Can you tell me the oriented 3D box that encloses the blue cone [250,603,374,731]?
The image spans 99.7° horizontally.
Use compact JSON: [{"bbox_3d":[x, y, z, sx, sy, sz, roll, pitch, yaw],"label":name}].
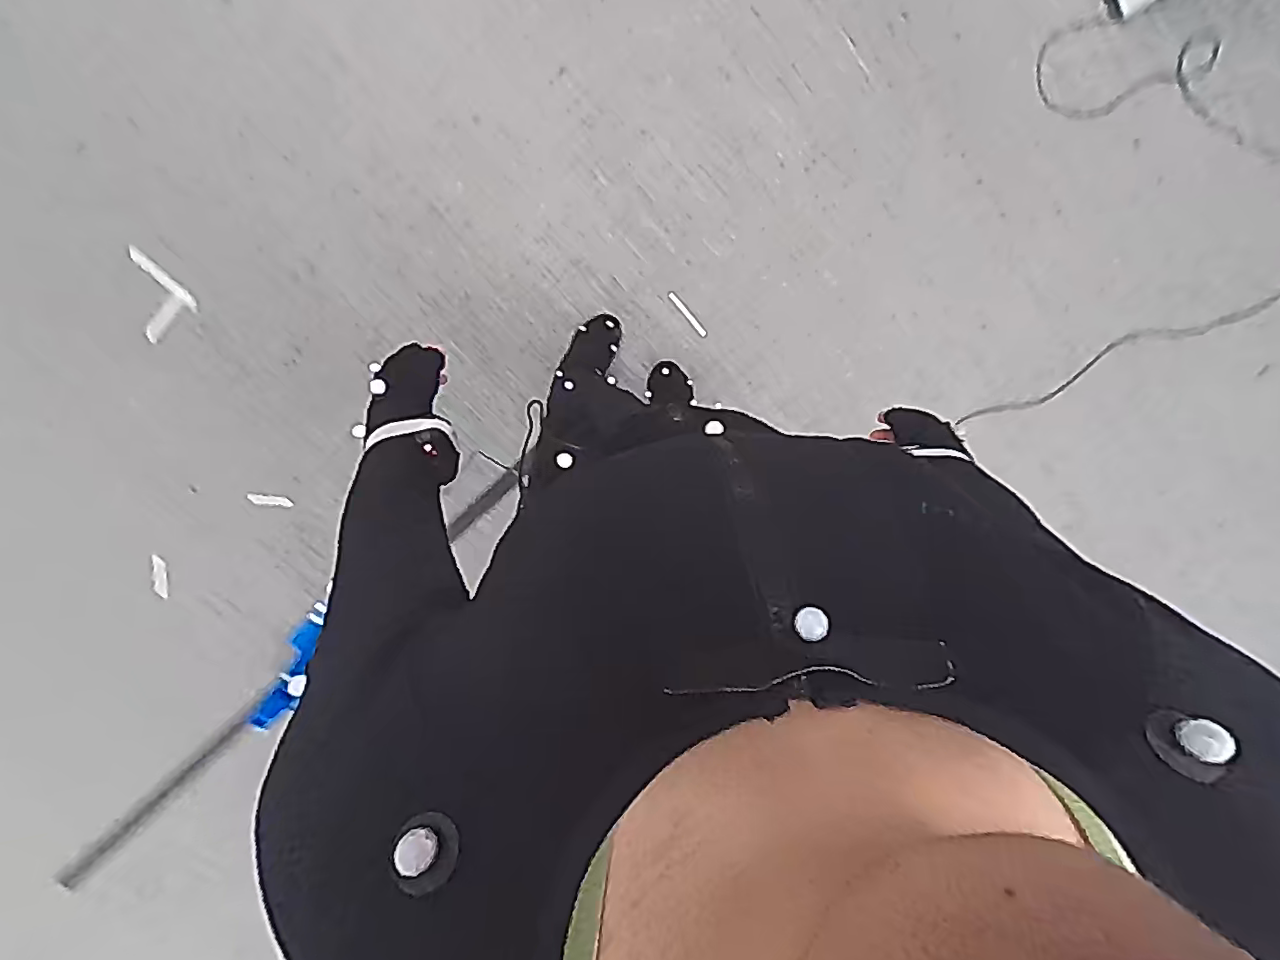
[{"bbox_3d":[-0.870,0.495,1.381,0.192,0.380,0.193,41,98,-12],"label":"blue cone"}]
